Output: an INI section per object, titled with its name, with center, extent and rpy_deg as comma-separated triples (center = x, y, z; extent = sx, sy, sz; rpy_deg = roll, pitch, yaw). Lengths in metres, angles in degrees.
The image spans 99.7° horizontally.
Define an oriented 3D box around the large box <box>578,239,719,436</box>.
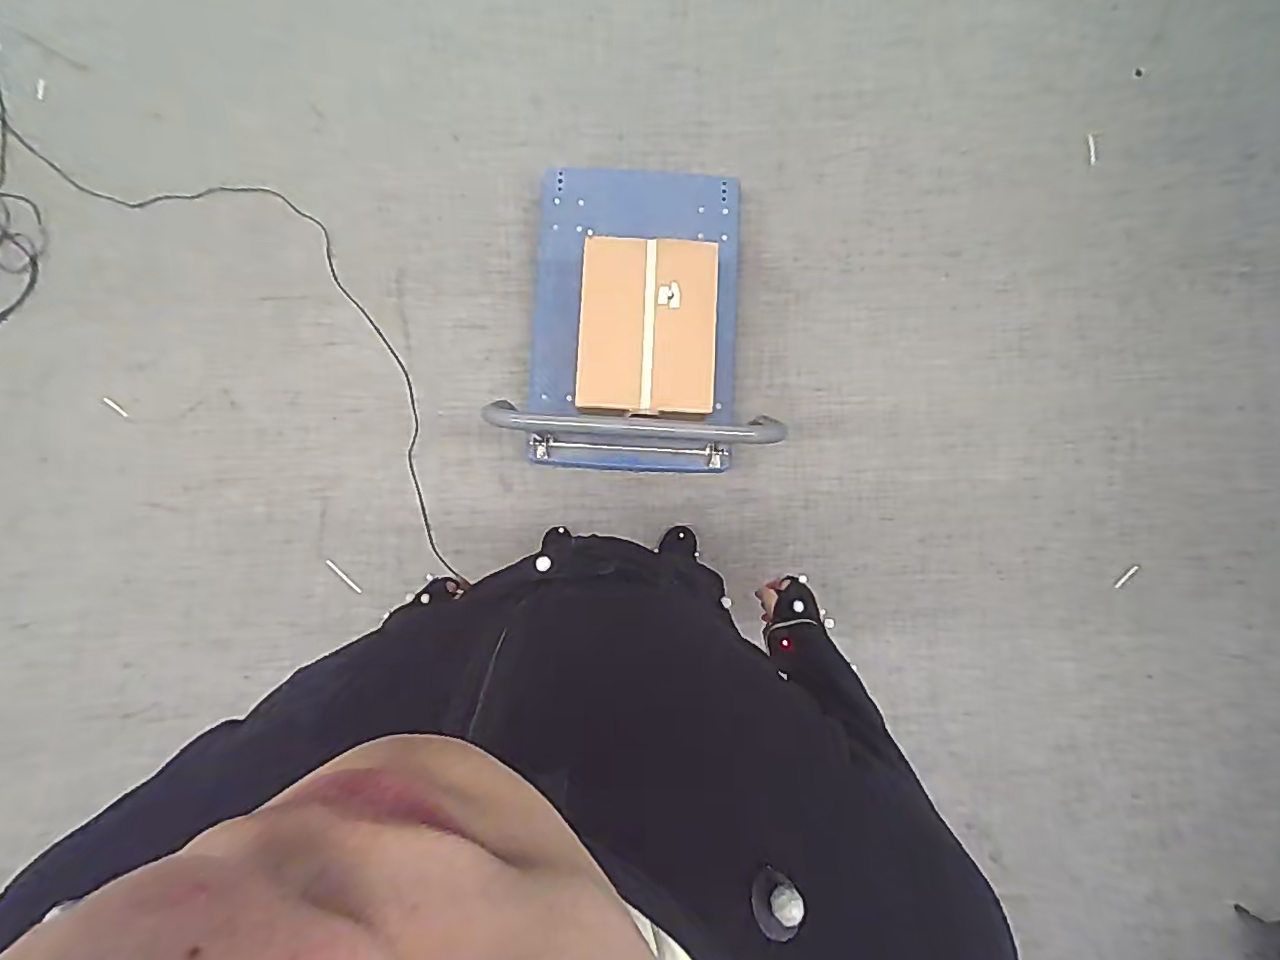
[large box]
center = 0.020, -0.335, 1.368
extent = 0.320, 0.320, 0.408
rpy_deg = 3, 84, -2
